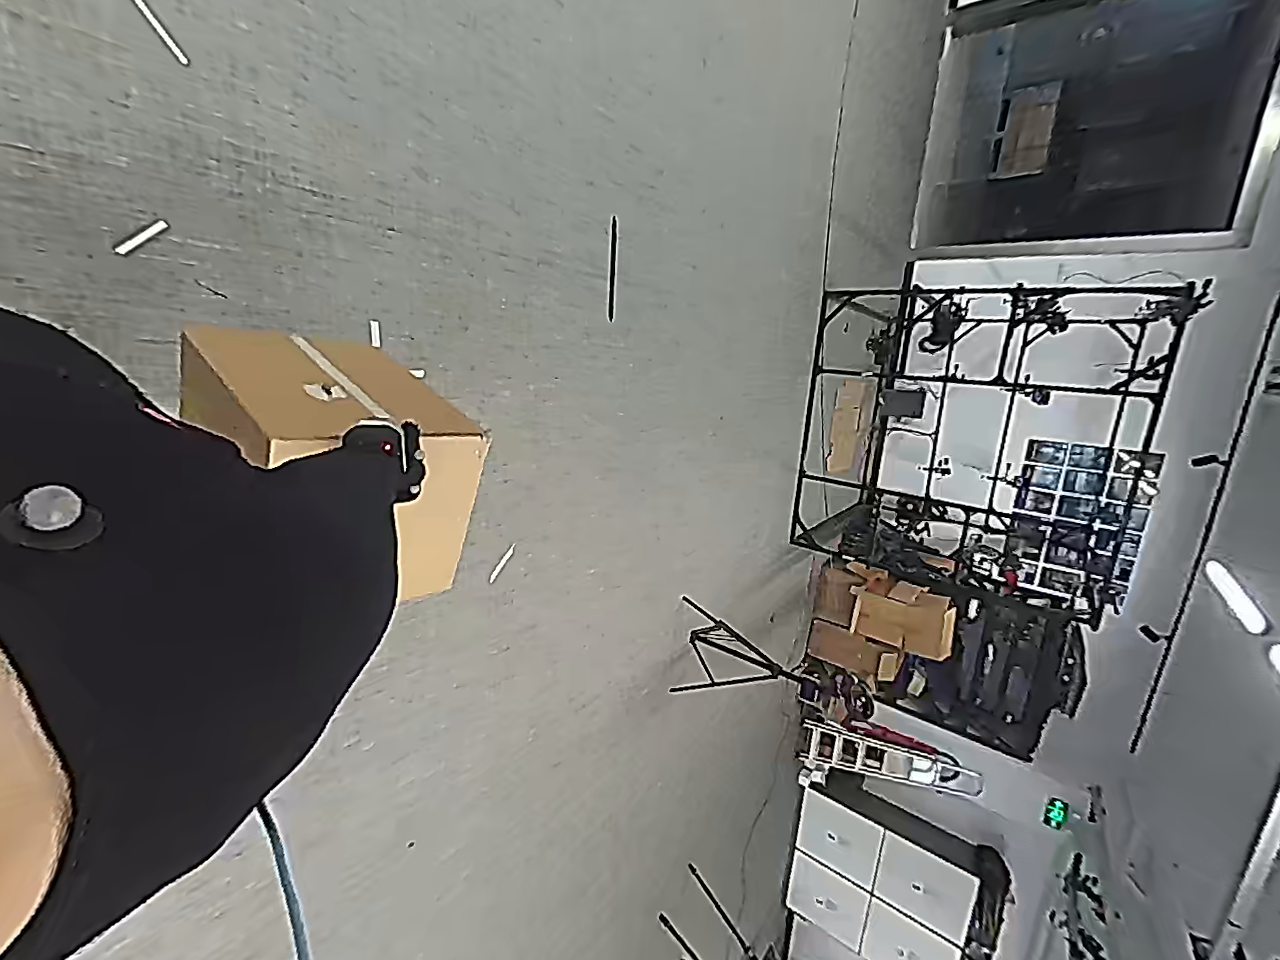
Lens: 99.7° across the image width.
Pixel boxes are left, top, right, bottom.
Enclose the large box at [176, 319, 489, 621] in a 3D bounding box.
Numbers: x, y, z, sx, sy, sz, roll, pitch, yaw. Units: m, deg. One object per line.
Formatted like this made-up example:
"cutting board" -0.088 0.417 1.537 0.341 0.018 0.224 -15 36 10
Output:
"large box" -0.534 -0.035 0.922 0.320 0.408 0.320 -8 126 -51
